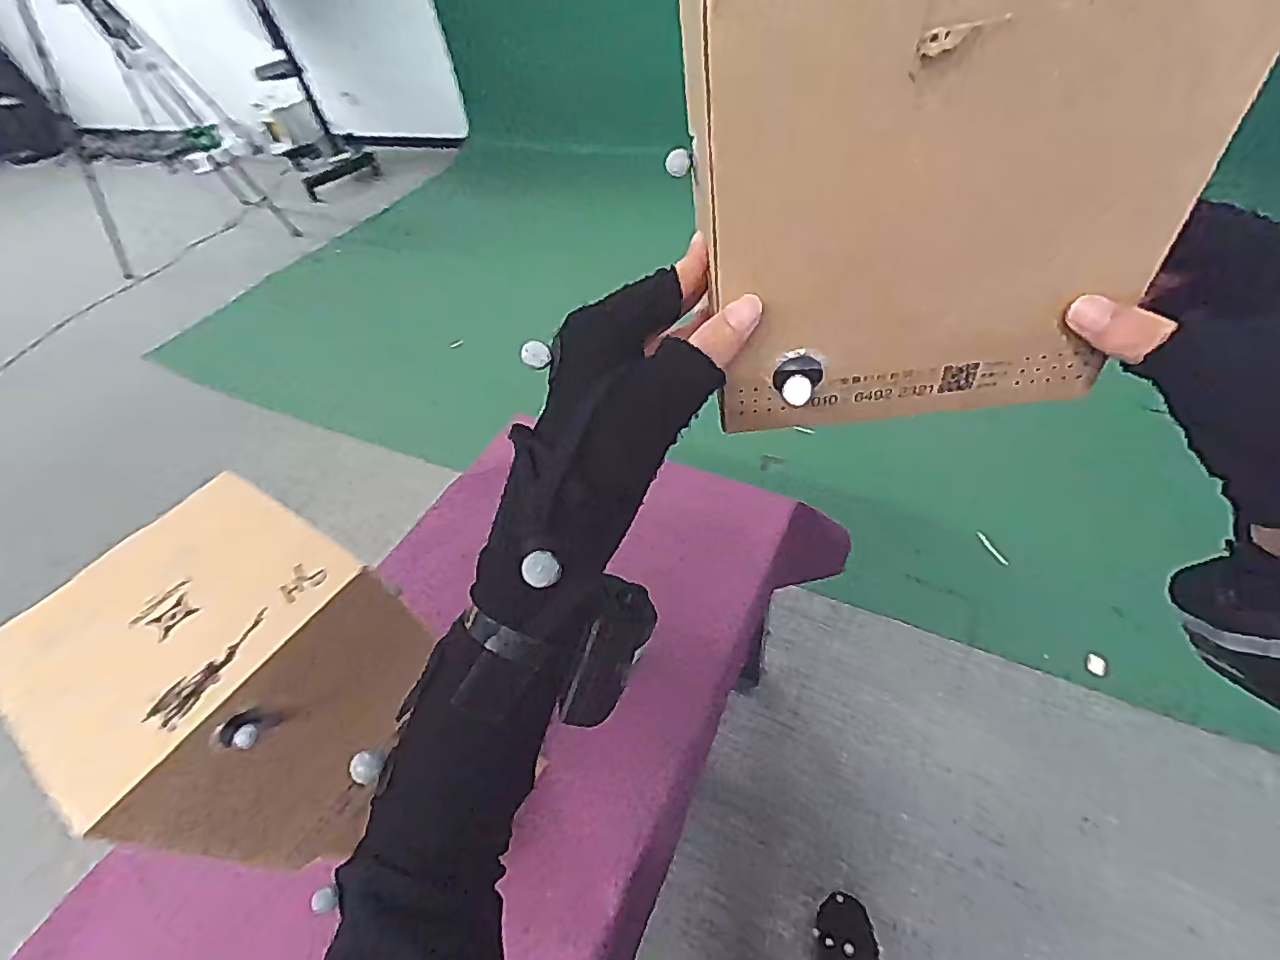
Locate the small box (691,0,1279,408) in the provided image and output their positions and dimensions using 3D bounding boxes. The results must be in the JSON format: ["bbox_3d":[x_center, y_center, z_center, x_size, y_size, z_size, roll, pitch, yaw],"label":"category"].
[{"bbox_3d":[0.115,-0.146,0.249,0.168,0.176,0.179,-5,46,7],"label":"small box"}]

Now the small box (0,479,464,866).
[{"bbox_3d":[-0.263,0.133,0.378,0.179,0.176,0.168,22,57,27],"label":"small box"}]
